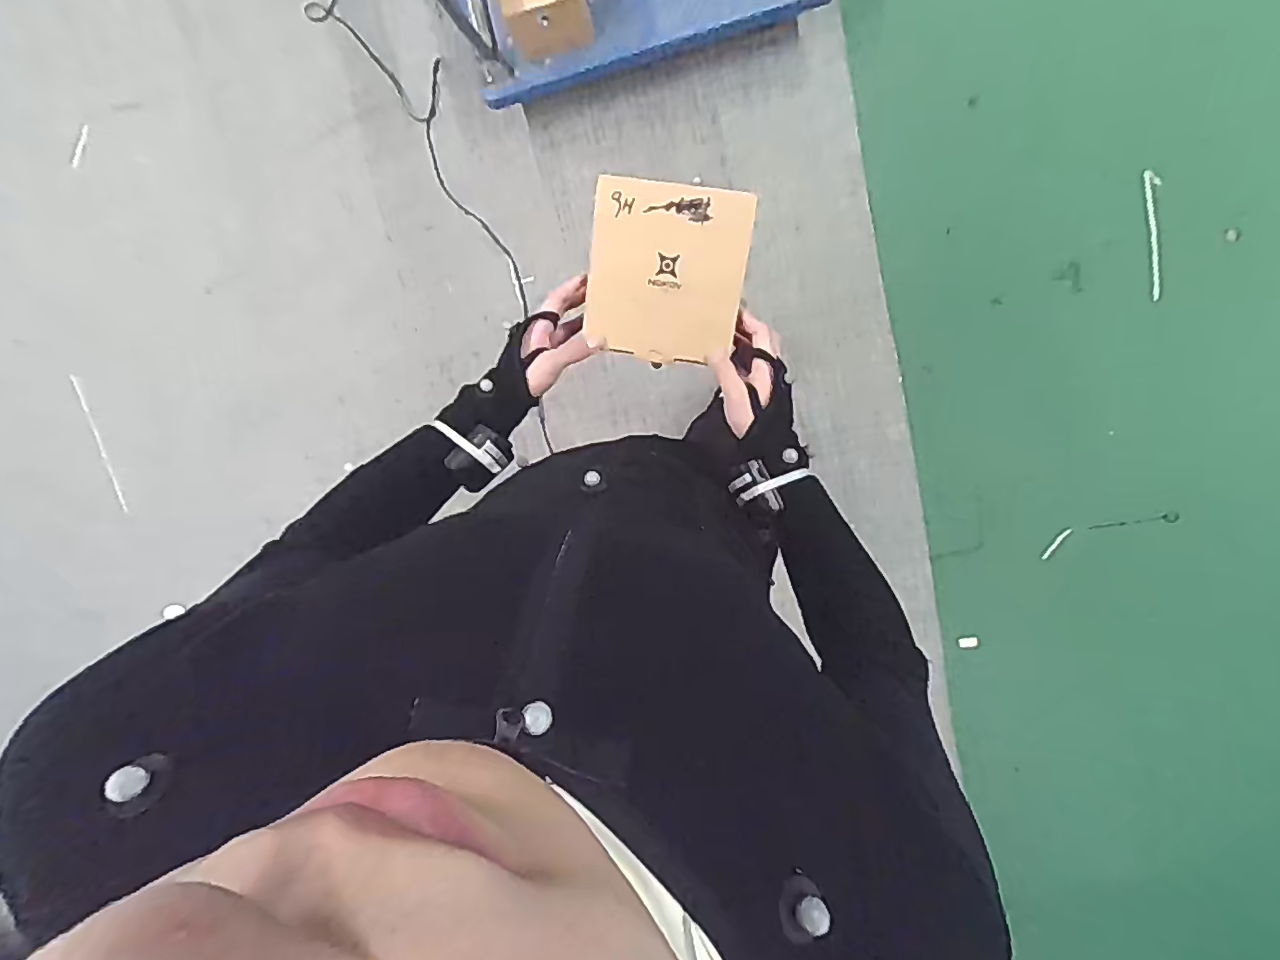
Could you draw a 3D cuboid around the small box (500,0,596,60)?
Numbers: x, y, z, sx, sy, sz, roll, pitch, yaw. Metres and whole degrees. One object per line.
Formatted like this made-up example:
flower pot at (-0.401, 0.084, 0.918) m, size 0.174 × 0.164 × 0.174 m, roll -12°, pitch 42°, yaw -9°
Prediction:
small box at (-0.208, -1.077, 1.196) m, size 0.179 × 0.176 × 0.168 m, roll -9°, pitch 99°, yaw 7°
